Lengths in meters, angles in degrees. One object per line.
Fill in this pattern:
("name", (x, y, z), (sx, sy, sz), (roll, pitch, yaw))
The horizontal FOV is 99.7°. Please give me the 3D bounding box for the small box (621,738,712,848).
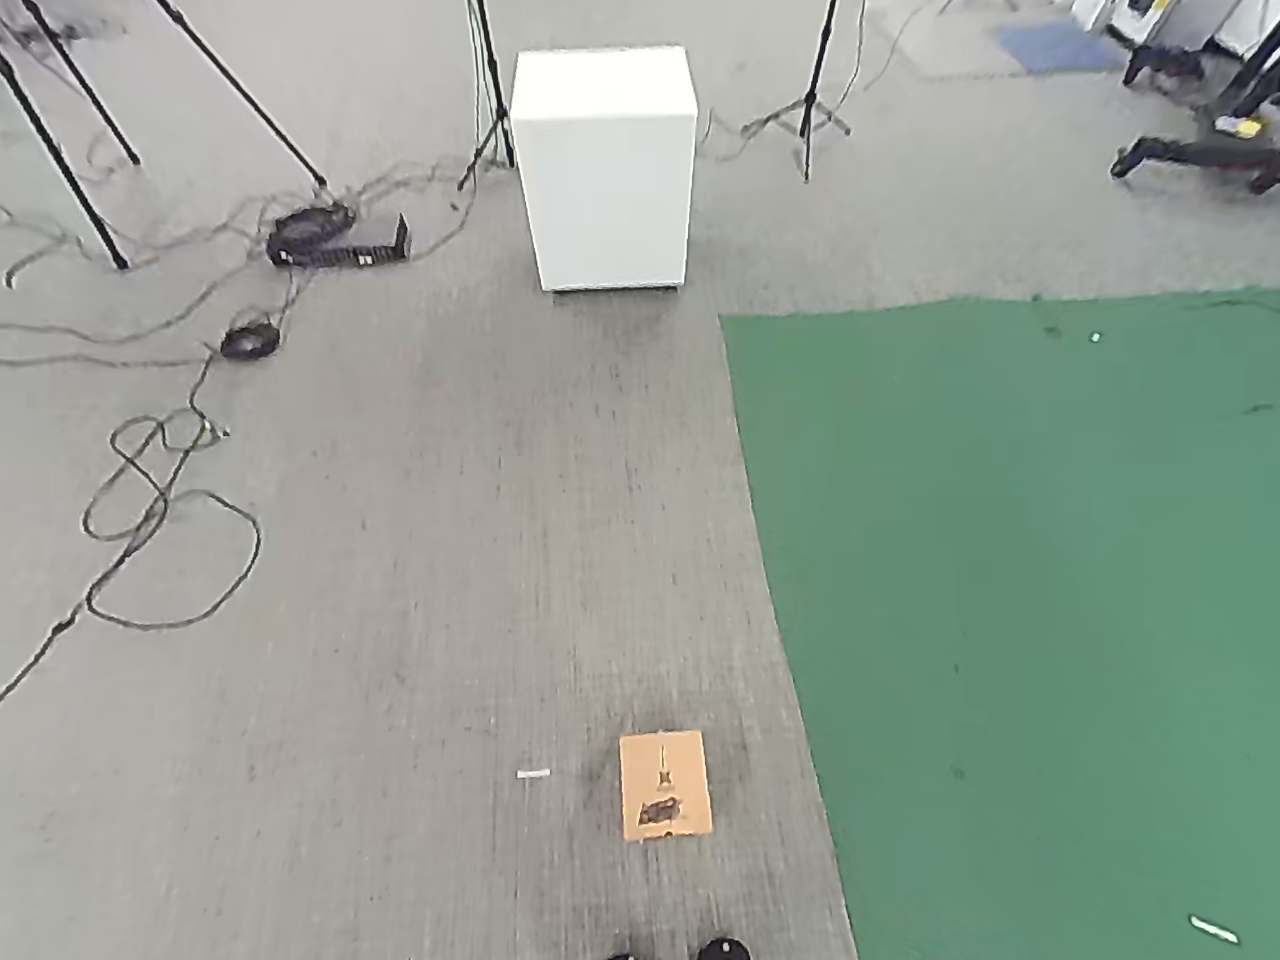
("small box", (0.049, 0.628, 1.089), (0.168, 0.176, 0.179), (-3, 58, -2))
